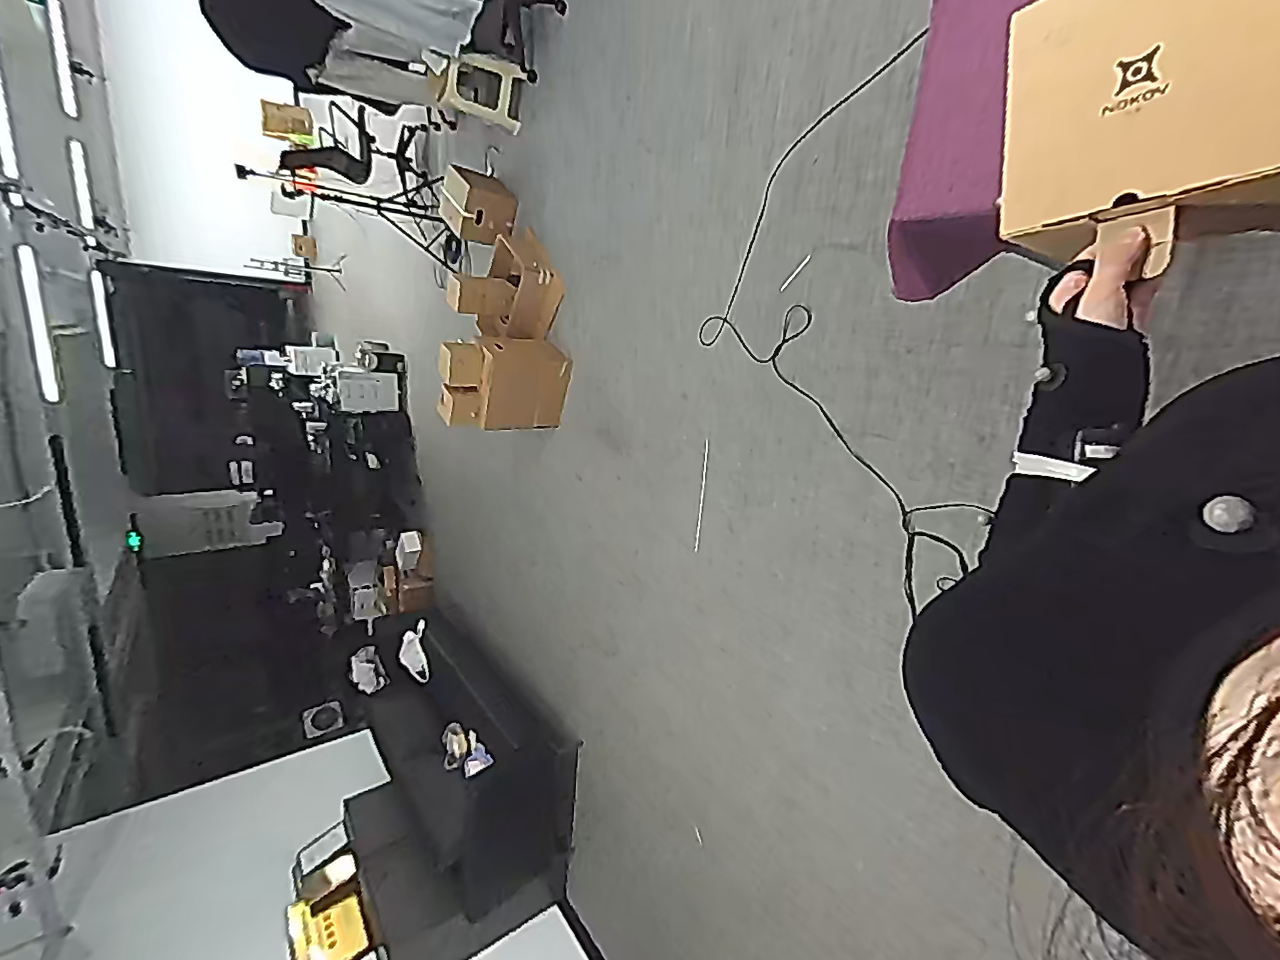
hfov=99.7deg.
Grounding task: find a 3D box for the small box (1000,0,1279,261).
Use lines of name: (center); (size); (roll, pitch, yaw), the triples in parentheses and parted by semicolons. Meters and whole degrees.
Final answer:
small box: (0.429, -0.299, 0.447); (0.168, 0.176, 0.179); (9, 103, 54)
